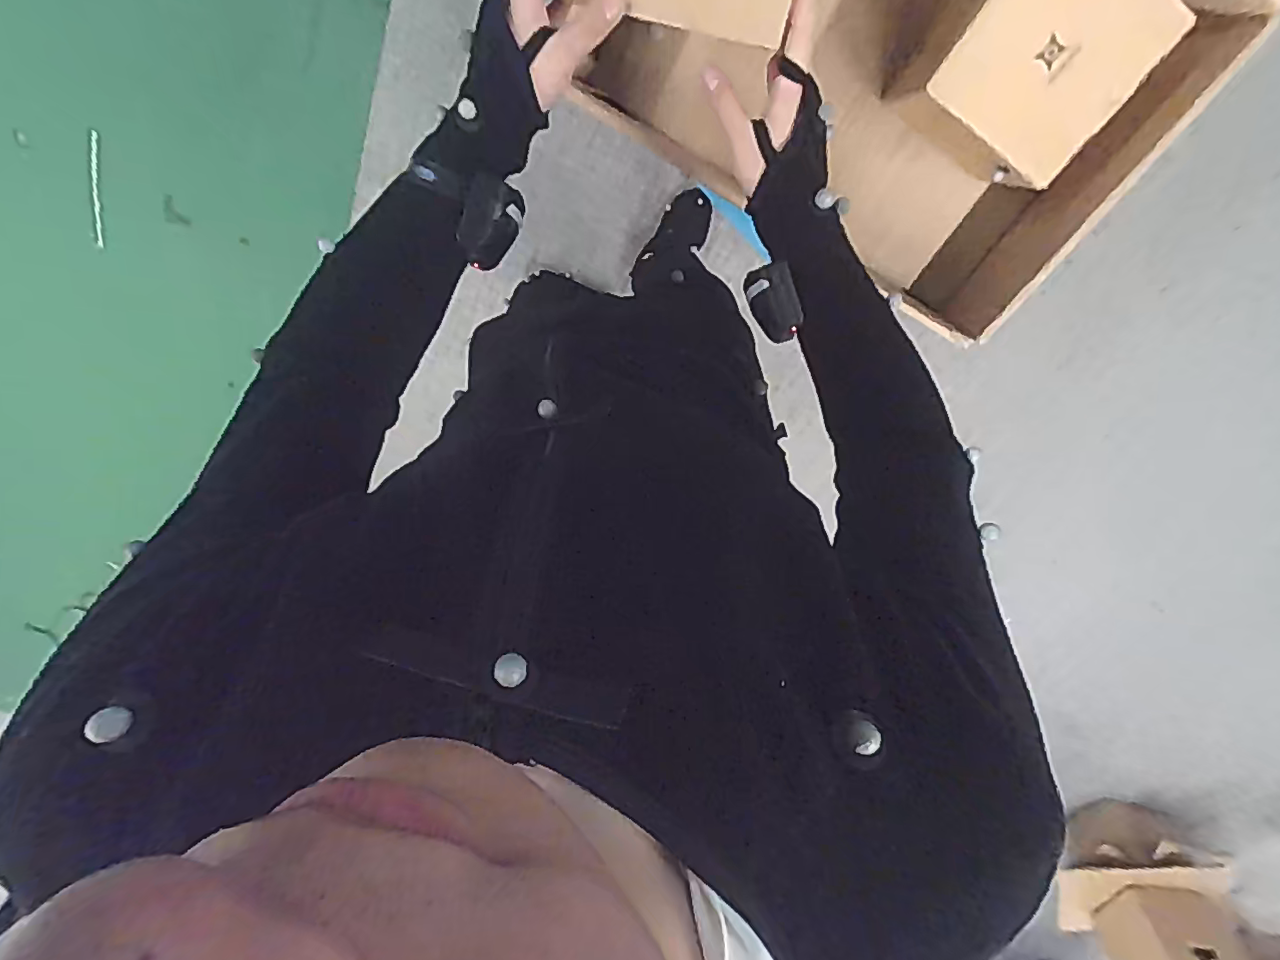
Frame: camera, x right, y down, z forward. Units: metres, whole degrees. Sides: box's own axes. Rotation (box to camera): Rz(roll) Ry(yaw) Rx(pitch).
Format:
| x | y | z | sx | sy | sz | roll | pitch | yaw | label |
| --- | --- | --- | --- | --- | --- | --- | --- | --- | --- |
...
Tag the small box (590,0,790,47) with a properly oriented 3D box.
| x | y | z | sx | sy | sz | roll | pitch | yaw | label |
| --- | --- | --- | --- | --- | --- | --- | --- | --- | --- |
| 0.046 | -0.457 | 0.416 | 0.179 | 0.176 | 0.168 | 13 | 131 | -1 | small box |
